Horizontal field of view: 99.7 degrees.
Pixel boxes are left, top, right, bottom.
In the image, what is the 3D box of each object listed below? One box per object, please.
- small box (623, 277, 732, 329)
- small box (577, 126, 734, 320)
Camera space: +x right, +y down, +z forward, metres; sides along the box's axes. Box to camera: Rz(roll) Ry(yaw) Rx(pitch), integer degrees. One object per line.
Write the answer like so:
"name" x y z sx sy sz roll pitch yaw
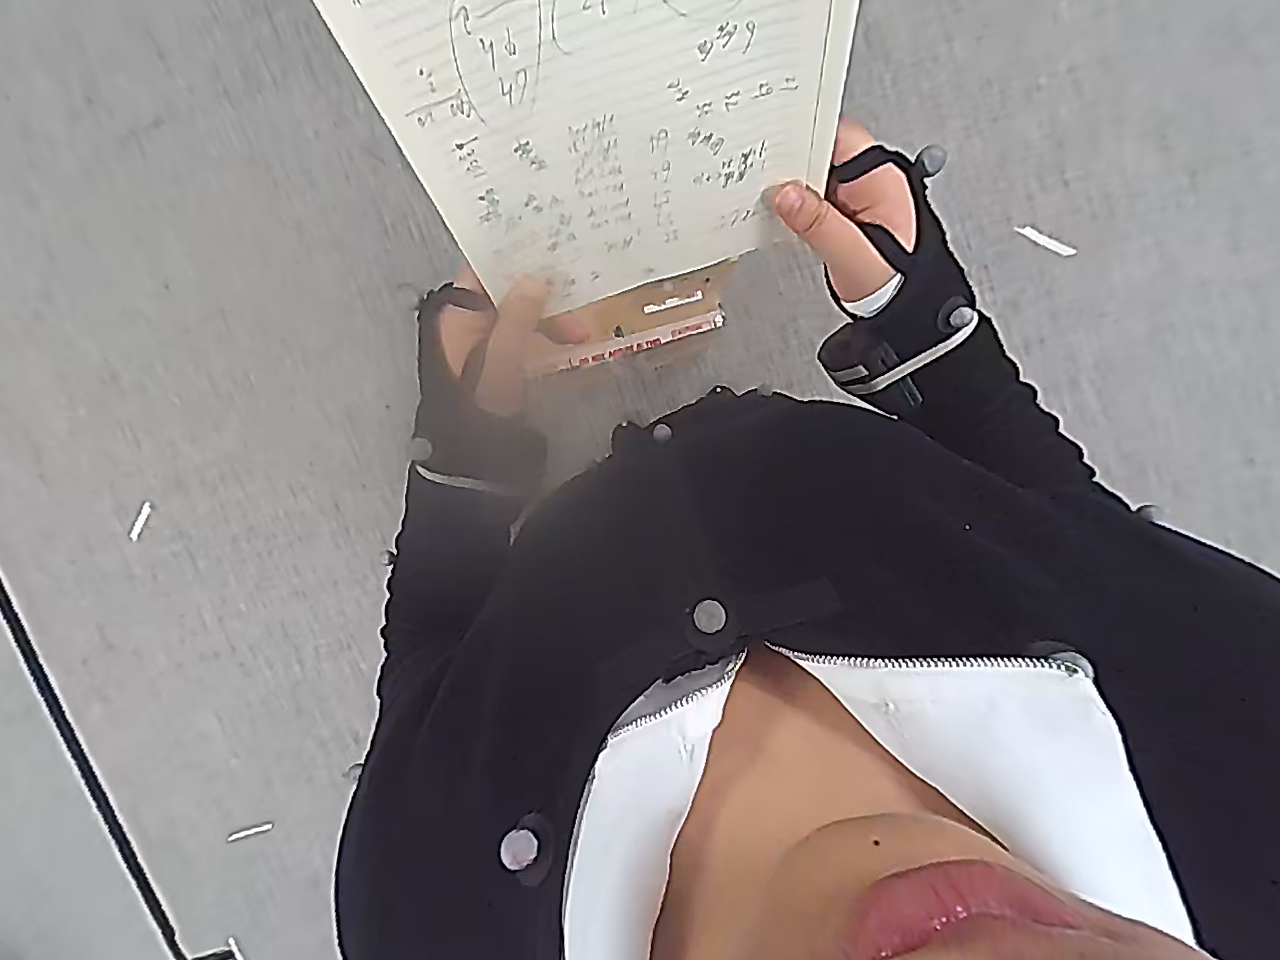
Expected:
"small box" 0.036 -0.361 0.893 0.179 0.176 0.168 -16 97 3
"small box" 0.017 -0.331 0.731 0.168 0.176 0.179 -12 99 1
